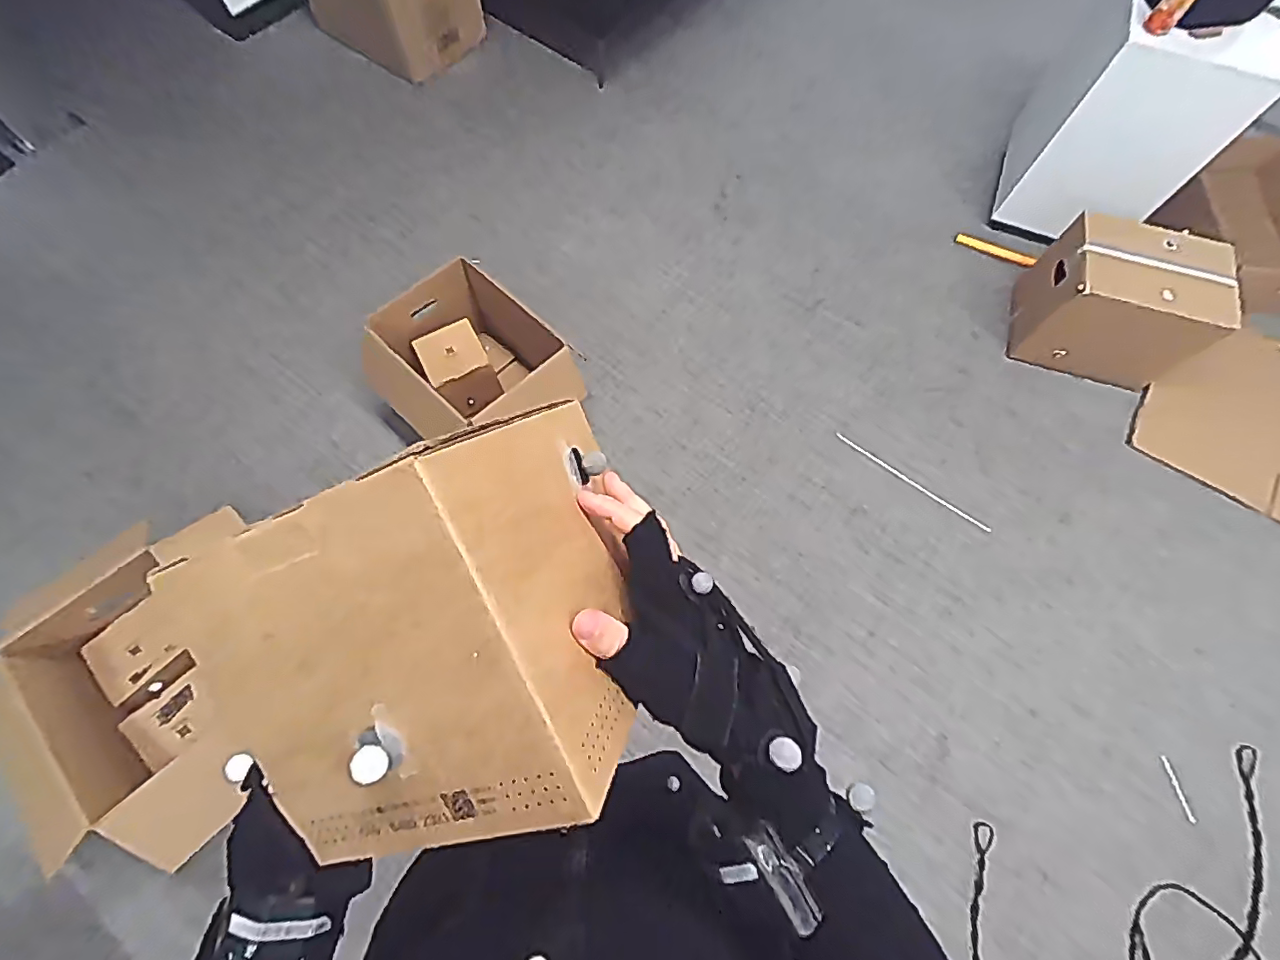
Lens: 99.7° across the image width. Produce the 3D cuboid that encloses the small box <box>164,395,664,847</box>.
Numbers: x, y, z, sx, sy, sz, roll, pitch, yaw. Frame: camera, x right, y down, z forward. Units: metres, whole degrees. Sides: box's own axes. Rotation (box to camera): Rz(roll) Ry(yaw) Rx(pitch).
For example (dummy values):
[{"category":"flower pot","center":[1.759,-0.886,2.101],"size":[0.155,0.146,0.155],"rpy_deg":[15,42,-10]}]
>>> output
[{"category":"small box","center":[-0.099,0.066,0.315],"size":[0.168,0.179,0.176],"rpy_deg":[-21,100,18]}]
